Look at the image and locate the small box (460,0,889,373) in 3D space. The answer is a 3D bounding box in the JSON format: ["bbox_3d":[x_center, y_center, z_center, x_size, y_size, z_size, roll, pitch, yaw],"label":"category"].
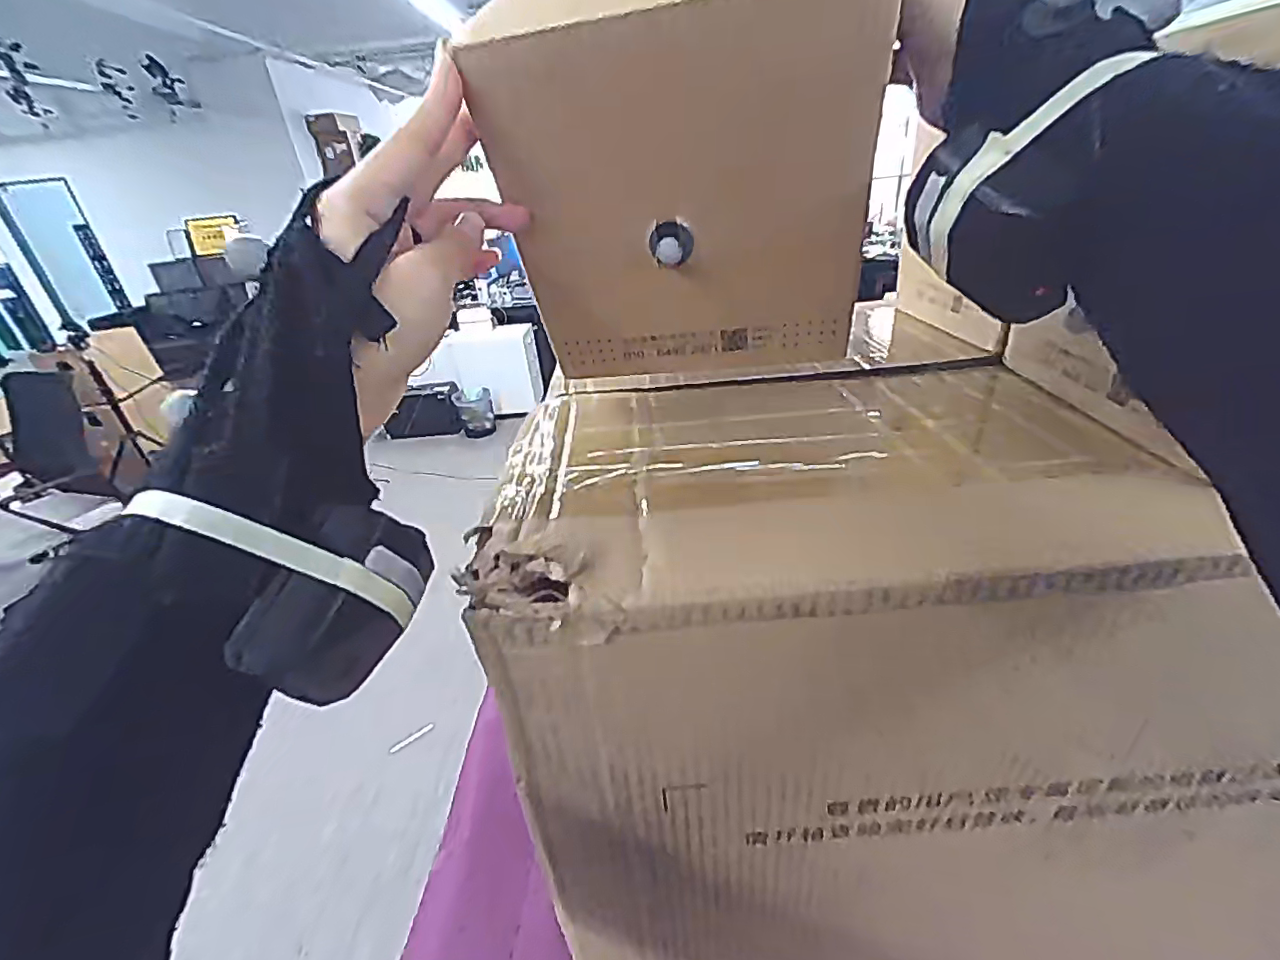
[{"bbox_3d":[0.029,-0.175,0.309,0.168,0.176,0.179,-1,50,11],"label":"small box"}]

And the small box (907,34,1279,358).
[{"bbox_3d":[0.317,-0.194,0.397,0.179,0.176,0.168,-5,28,2],"label":"small box"}]
